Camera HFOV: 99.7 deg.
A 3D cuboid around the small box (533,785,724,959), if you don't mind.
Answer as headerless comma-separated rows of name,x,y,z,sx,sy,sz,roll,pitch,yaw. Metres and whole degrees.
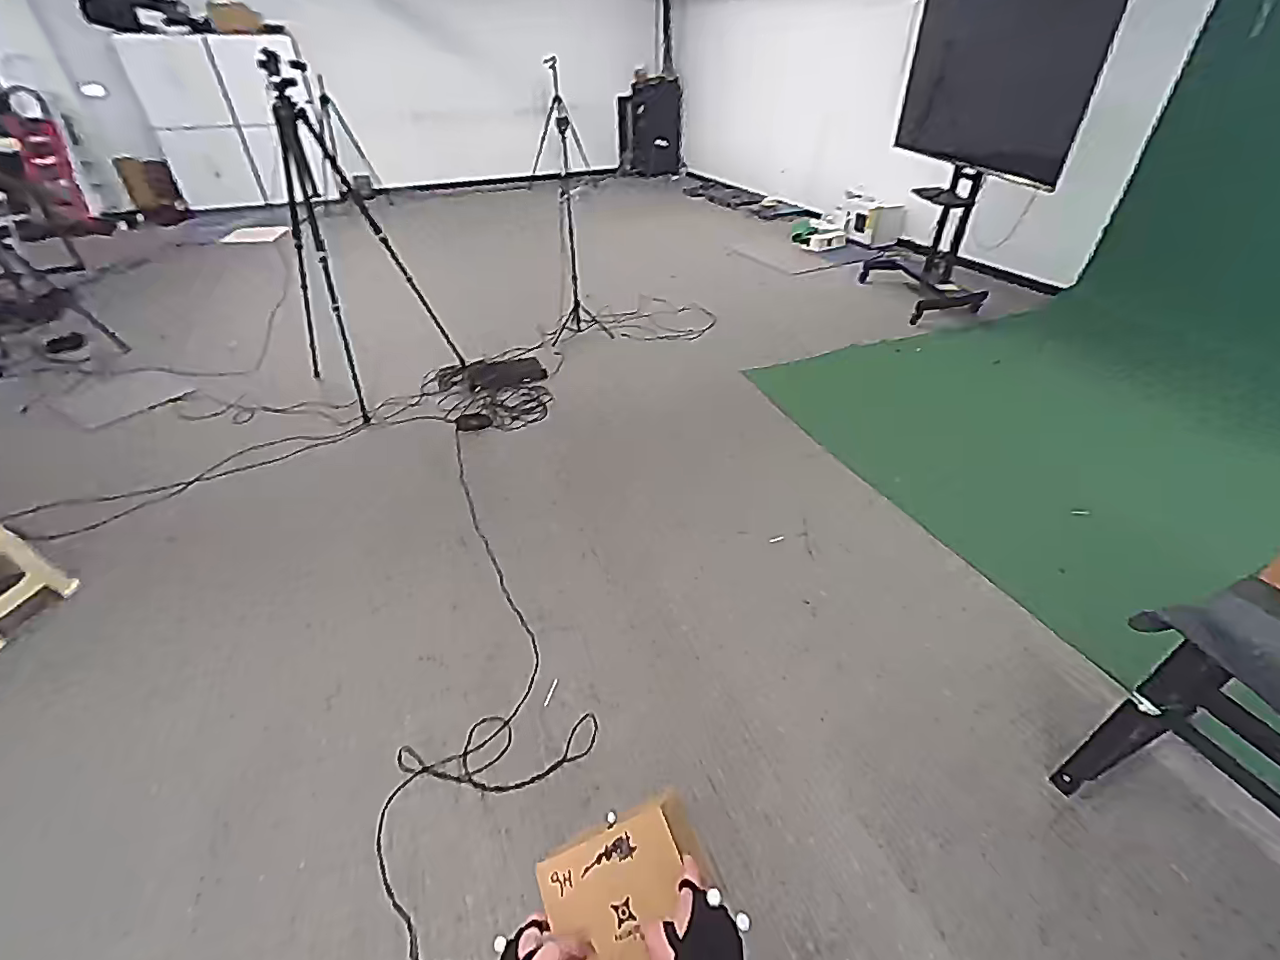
small box,-0.005,0.516,0.679,0.168,0.176,0.179,-27,64,0
